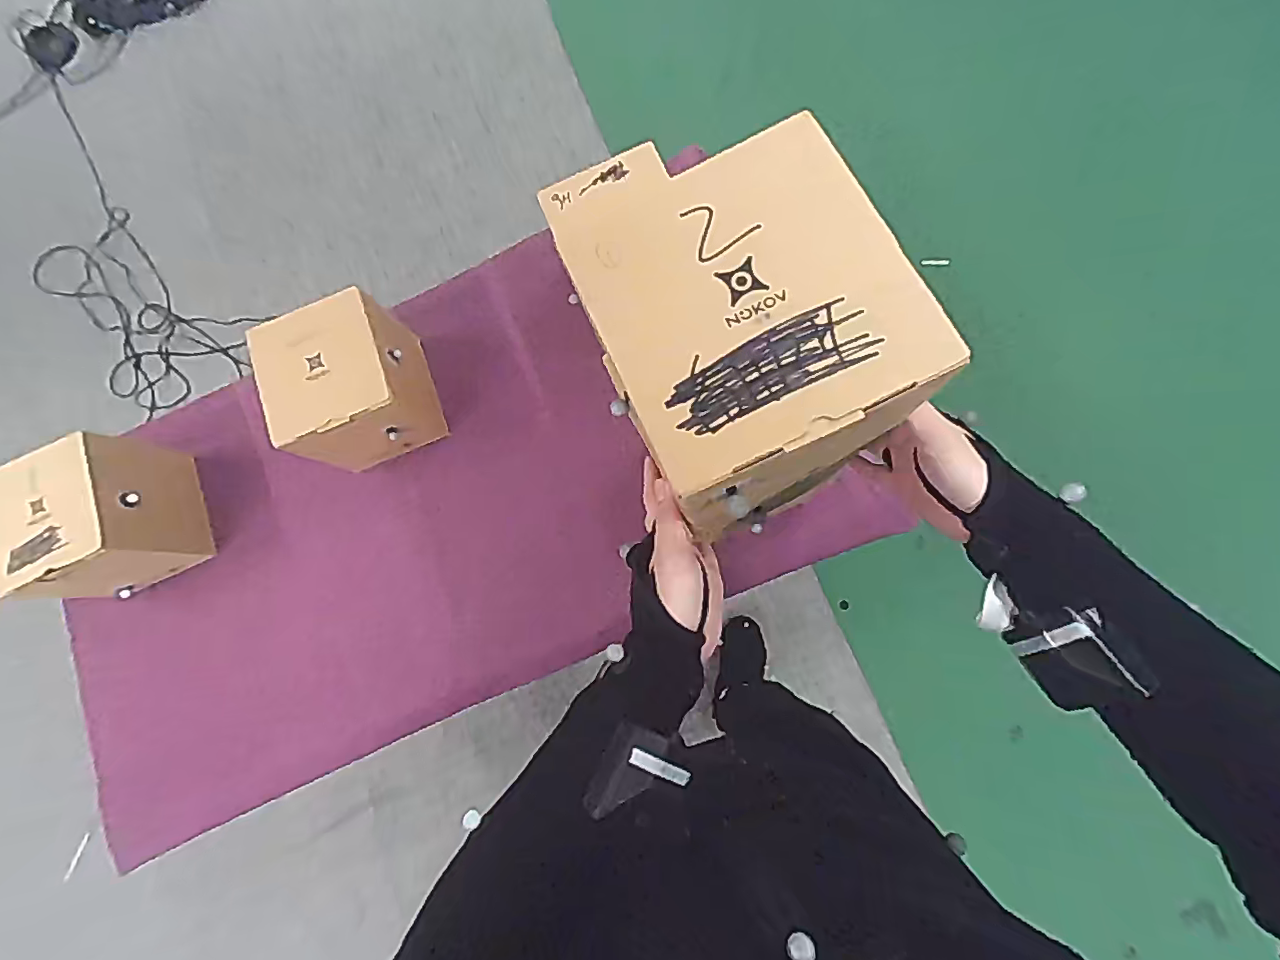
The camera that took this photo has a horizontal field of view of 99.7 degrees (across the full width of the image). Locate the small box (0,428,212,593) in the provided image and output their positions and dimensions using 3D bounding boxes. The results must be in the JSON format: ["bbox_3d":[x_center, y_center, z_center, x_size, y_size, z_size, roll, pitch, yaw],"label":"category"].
[{"bbox_3d":[-0.773,0.051,0.786,0.168,0.176,0.179,-23,77,1],"label":"small box"}]

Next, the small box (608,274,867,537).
[{"bbox_3d":[0.087,-0.058,0.537,0.168,0.176,0.179,-27,78,2],"label":"small box"}]

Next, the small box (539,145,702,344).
[{"bbox_3d":[-0.017,-0.312,0.763,0.168,0.176,0.179,-23,81,3],"label":"small box"}]

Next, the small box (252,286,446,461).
[{"bbox_3d":[-0.406,-0.137,0.780,0.168,0.176,0.179,-21,78,2],"label":"small box"}]

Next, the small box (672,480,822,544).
[{"bbox_3d":[0.107,-0.030,0.696,0.168,0.176,0.179,-24,77,4],"label":"small box"}]
